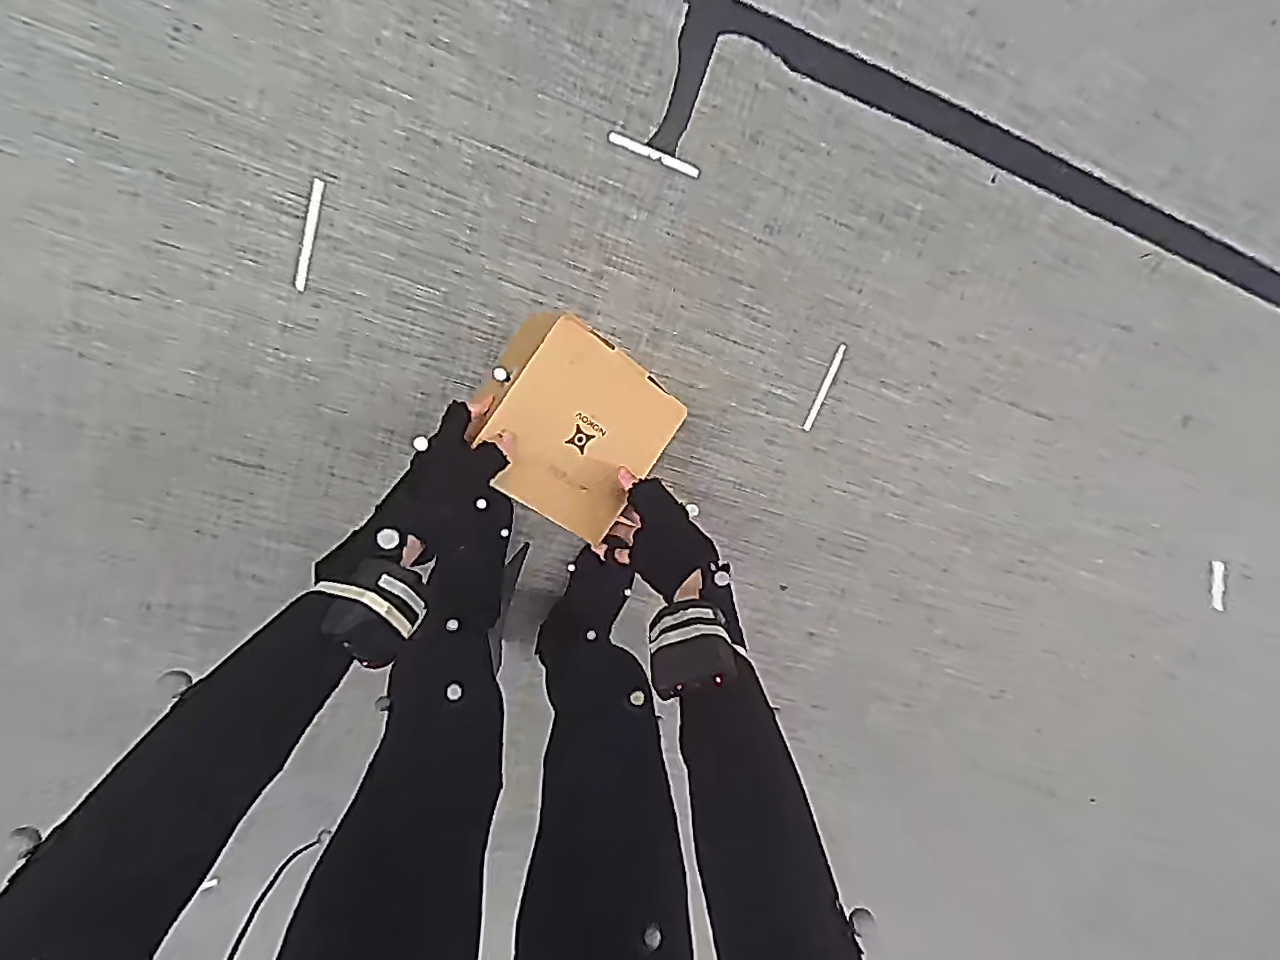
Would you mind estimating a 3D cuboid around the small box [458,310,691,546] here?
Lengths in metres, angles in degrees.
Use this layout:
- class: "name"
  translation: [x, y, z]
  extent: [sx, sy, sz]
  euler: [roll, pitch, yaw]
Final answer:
- class: "small box"
  translation: [-0.083, -0.063, 0.590]
  extent: [0.168, 0.176, 0.179]
  euler: [34, 90, -26]
